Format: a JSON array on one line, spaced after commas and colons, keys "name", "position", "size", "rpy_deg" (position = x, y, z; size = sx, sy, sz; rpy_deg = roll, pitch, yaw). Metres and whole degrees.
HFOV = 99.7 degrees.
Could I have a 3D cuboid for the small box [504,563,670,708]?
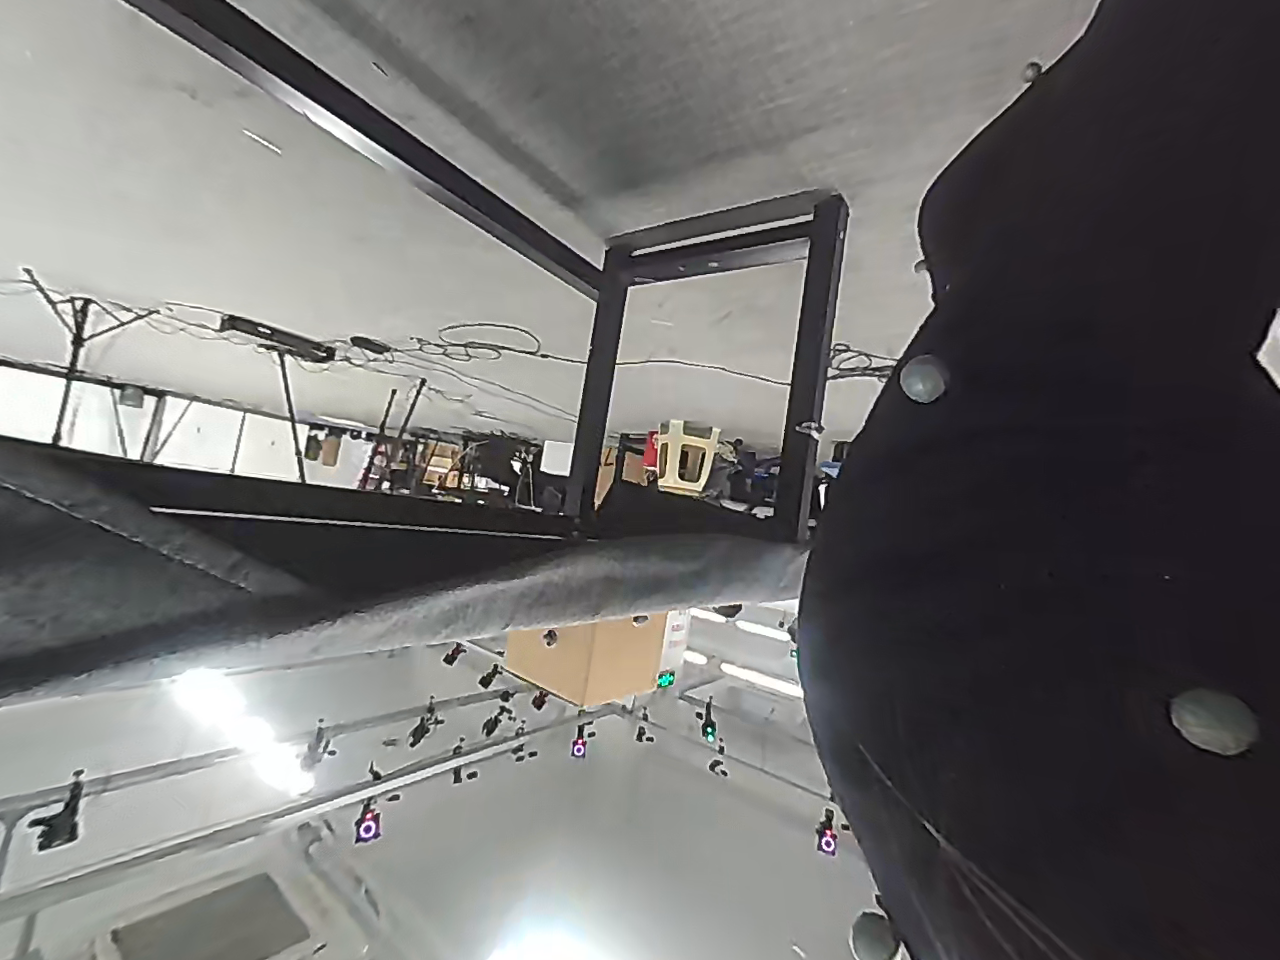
[{"name": "small box", "position": [-0.074, 0.219, 0.817], "size": [0.179, 0.176, 0.168], "rpy_deg": [6, 175, 39]}]
